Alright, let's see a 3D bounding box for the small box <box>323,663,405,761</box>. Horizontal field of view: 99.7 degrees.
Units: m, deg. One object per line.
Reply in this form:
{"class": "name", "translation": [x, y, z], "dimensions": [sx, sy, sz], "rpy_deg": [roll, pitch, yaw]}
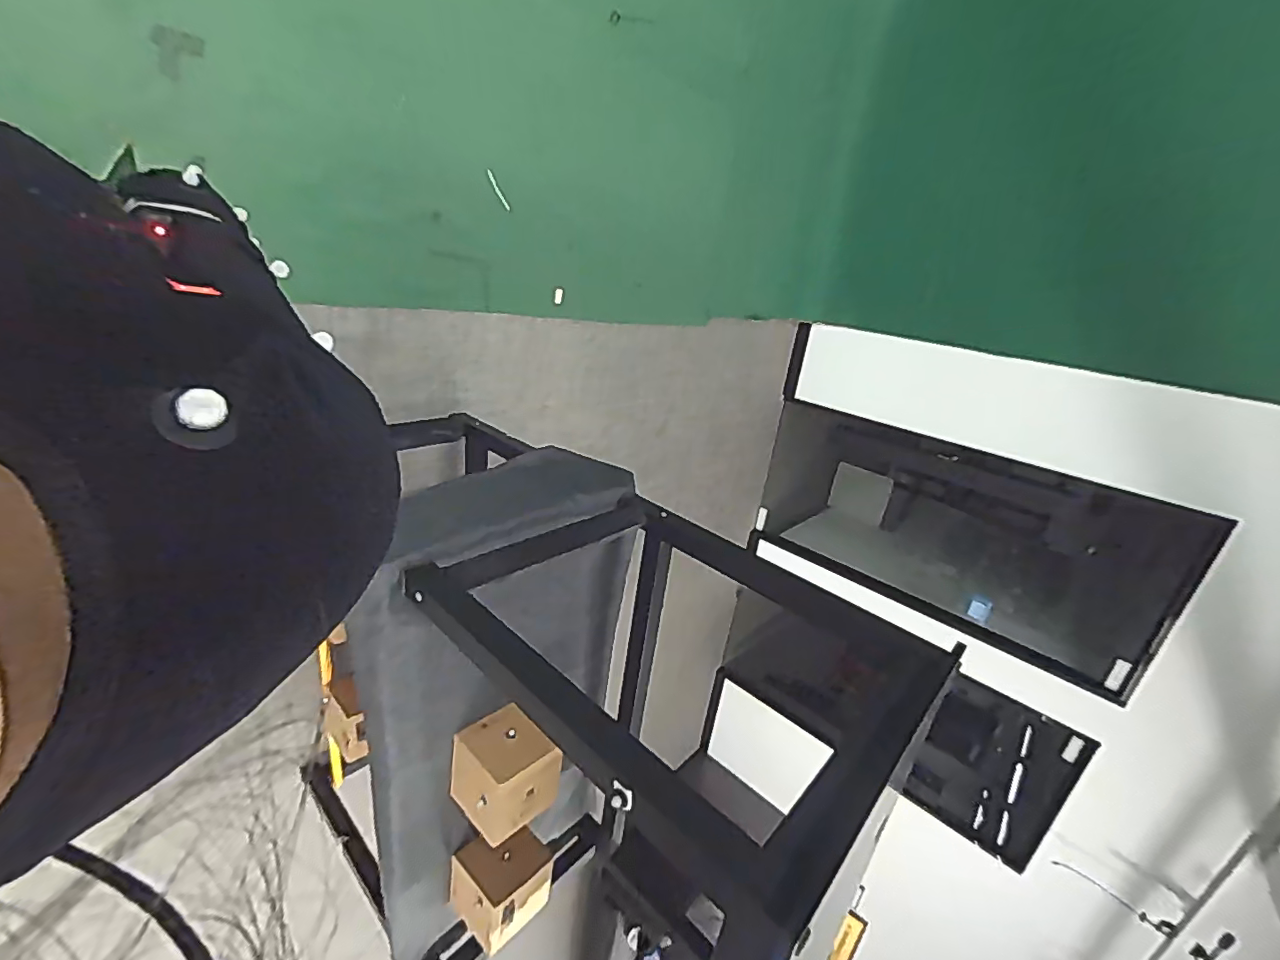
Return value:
{"class": "small box", "translation": [-0.823, 0.682, 1.608], "dimensions": [0.179, 0.176, 0.168], "rpy_deg": [-12, 119, -48]}

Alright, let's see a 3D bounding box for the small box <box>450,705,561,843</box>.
{"class": "small box", "translation": [-0.295, 0.620, 1.174], "dimensions": [0.168, 0.176, 0.179], "rpy_deg": [-13, 119, -48]}
